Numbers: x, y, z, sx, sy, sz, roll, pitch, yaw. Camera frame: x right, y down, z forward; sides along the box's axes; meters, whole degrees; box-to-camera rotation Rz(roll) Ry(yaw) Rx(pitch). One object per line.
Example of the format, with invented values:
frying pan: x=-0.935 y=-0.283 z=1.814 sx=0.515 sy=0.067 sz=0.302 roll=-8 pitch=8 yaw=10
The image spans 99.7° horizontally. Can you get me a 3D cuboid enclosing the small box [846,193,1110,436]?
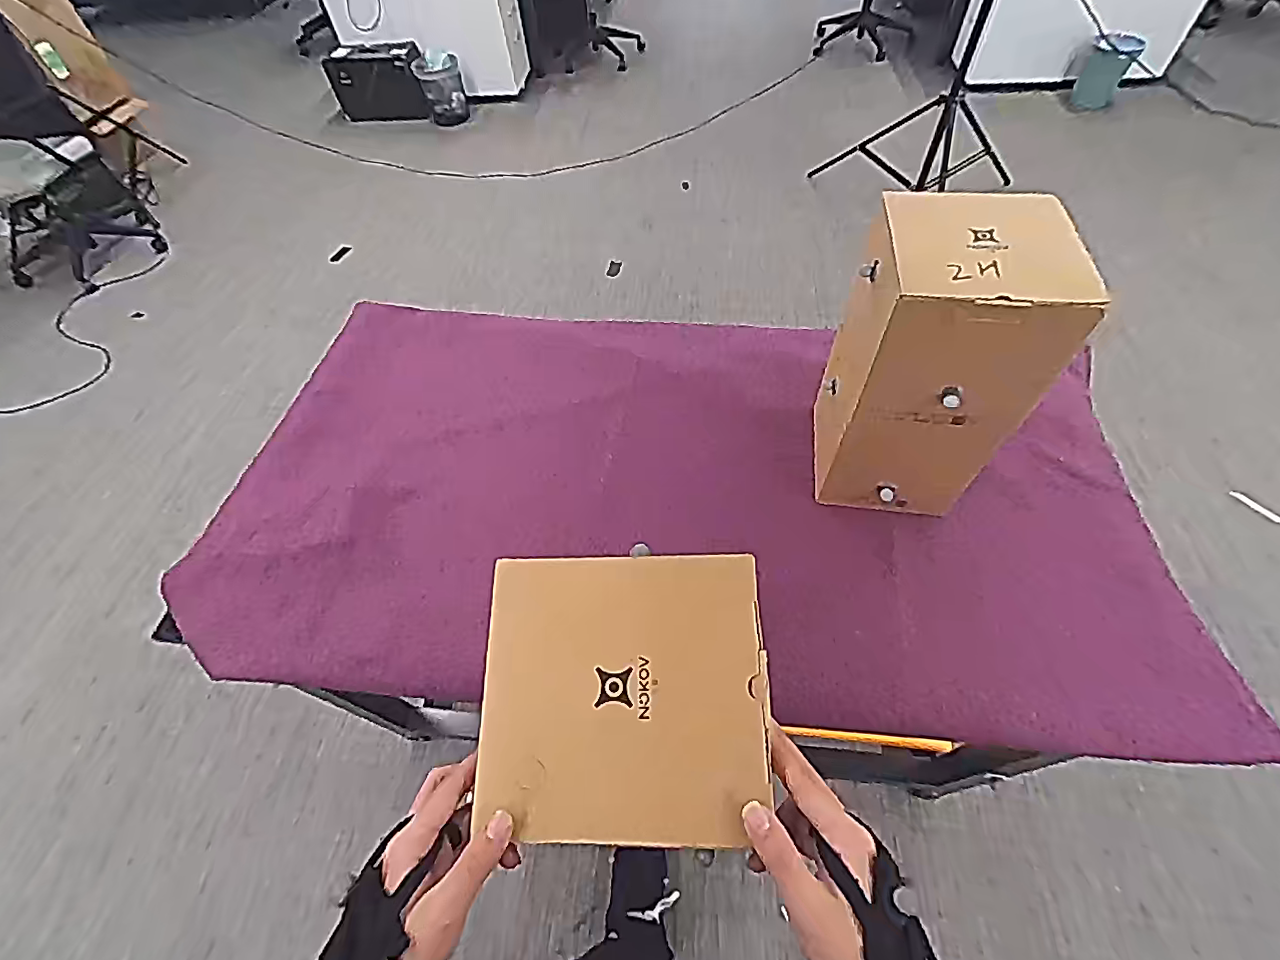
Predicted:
small box: x=0.321 y=-0.171 z=0.562 sx=0.168 sy=0.176 sz=0.179 roll=5 pitch=55 yaw=9

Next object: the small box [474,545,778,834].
small box: x=-0.002 y=0.151 z=0.406 sx=0.179 sy=0.176 sz=0.168 roll=-2 pitch=68 yaw=4

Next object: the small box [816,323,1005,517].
small box: x=0.327 y=-0.076 z=0.697 sx=0.168 sy=0.176 sz=0.179 roll=6 pitch=56 yaw=8
